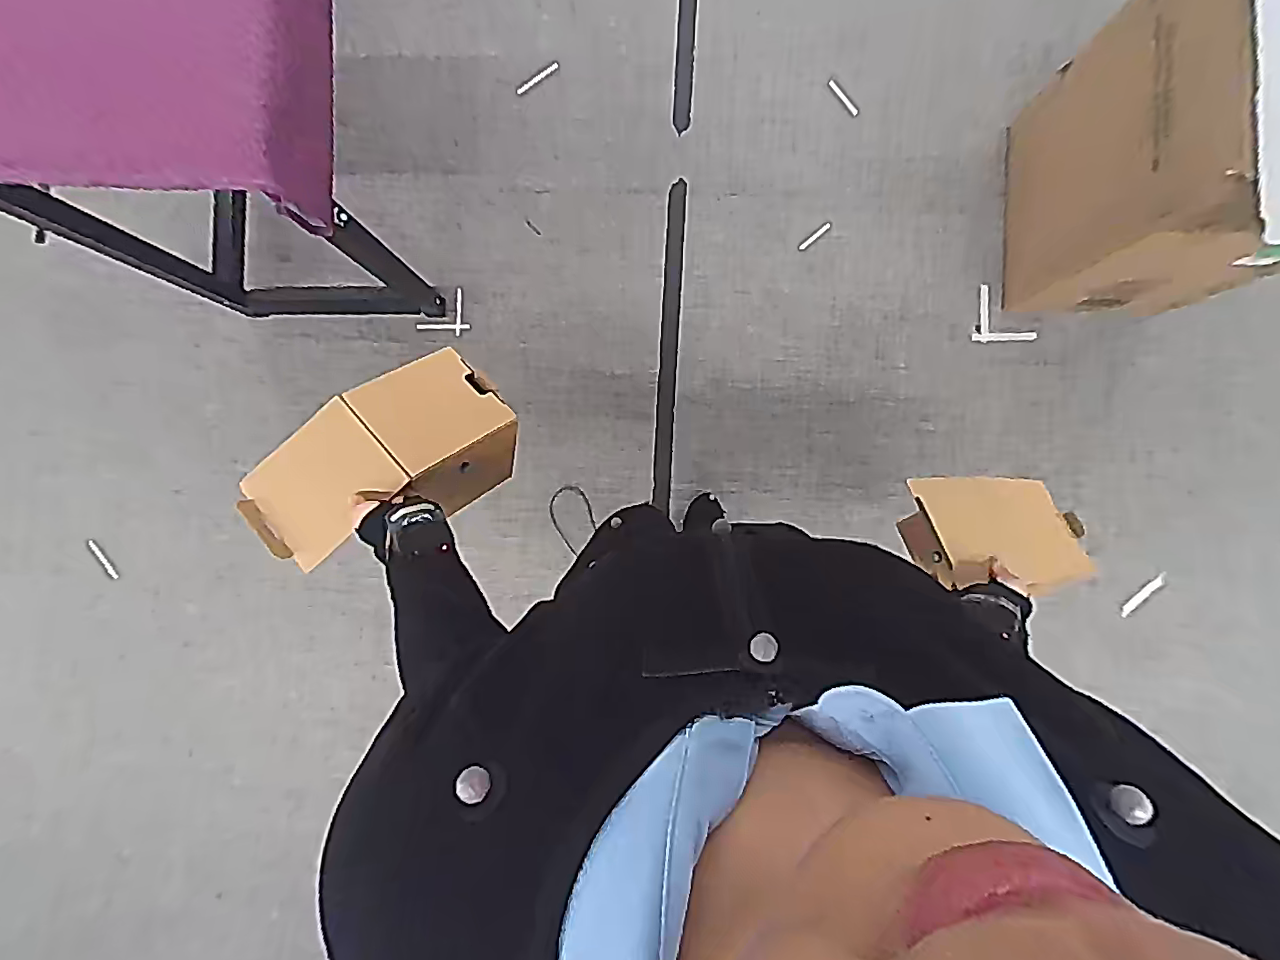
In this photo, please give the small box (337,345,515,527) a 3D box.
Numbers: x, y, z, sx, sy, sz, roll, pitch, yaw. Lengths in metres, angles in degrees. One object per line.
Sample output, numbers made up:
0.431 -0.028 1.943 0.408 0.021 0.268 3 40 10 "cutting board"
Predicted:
-0.307 -0.060 0.804 0.168 0.176 0.179 46 58 12 "small box"
